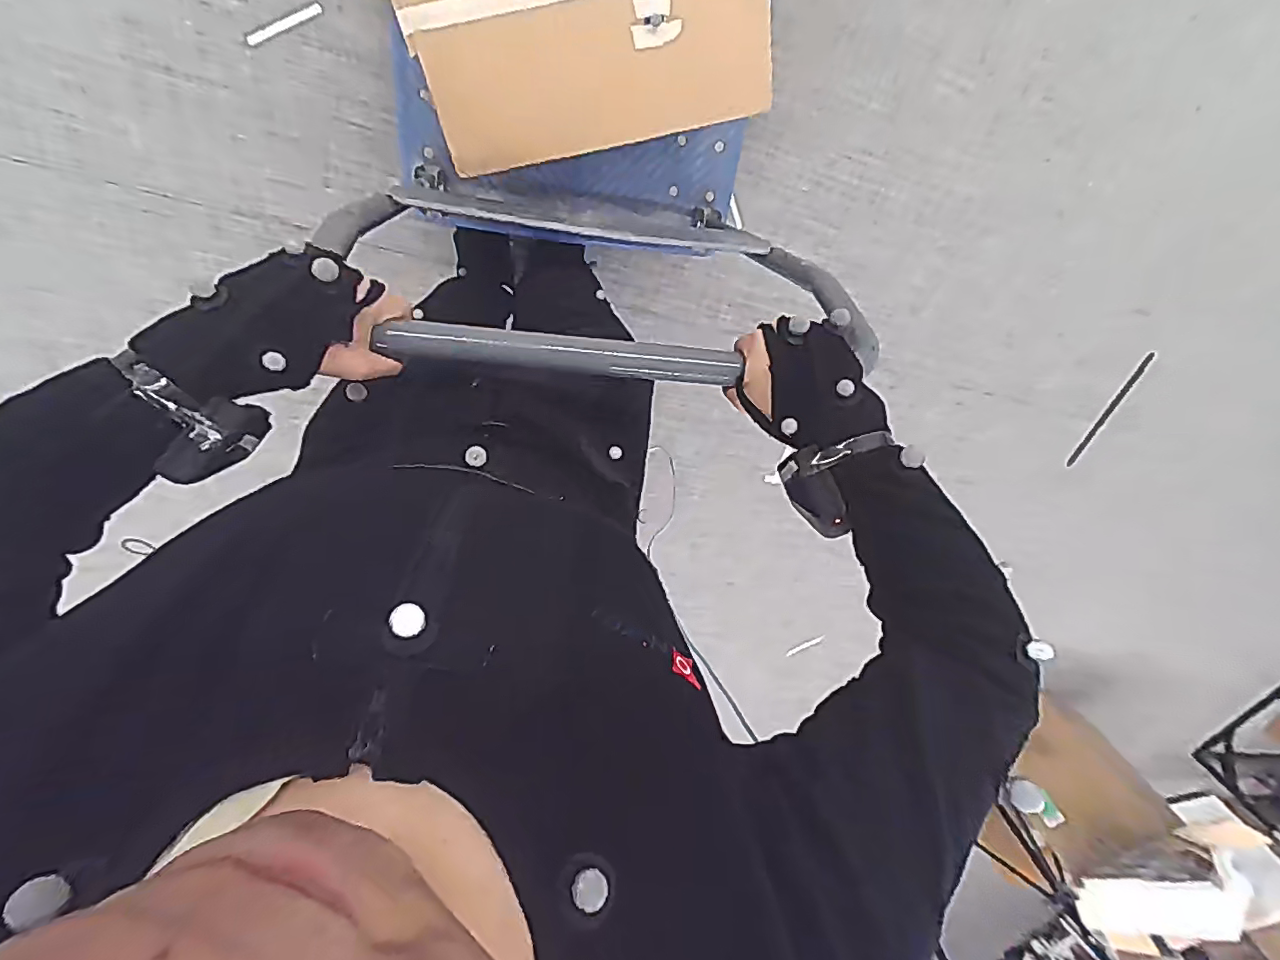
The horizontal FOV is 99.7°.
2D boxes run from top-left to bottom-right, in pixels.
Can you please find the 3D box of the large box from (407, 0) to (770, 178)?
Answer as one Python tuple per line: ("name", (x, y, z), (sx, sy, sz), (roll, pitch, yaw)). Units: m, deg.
("large box", (-0.082, -0.627, 0.714), (0.408, 0.320, 0.320), (-15, 126, -3))
